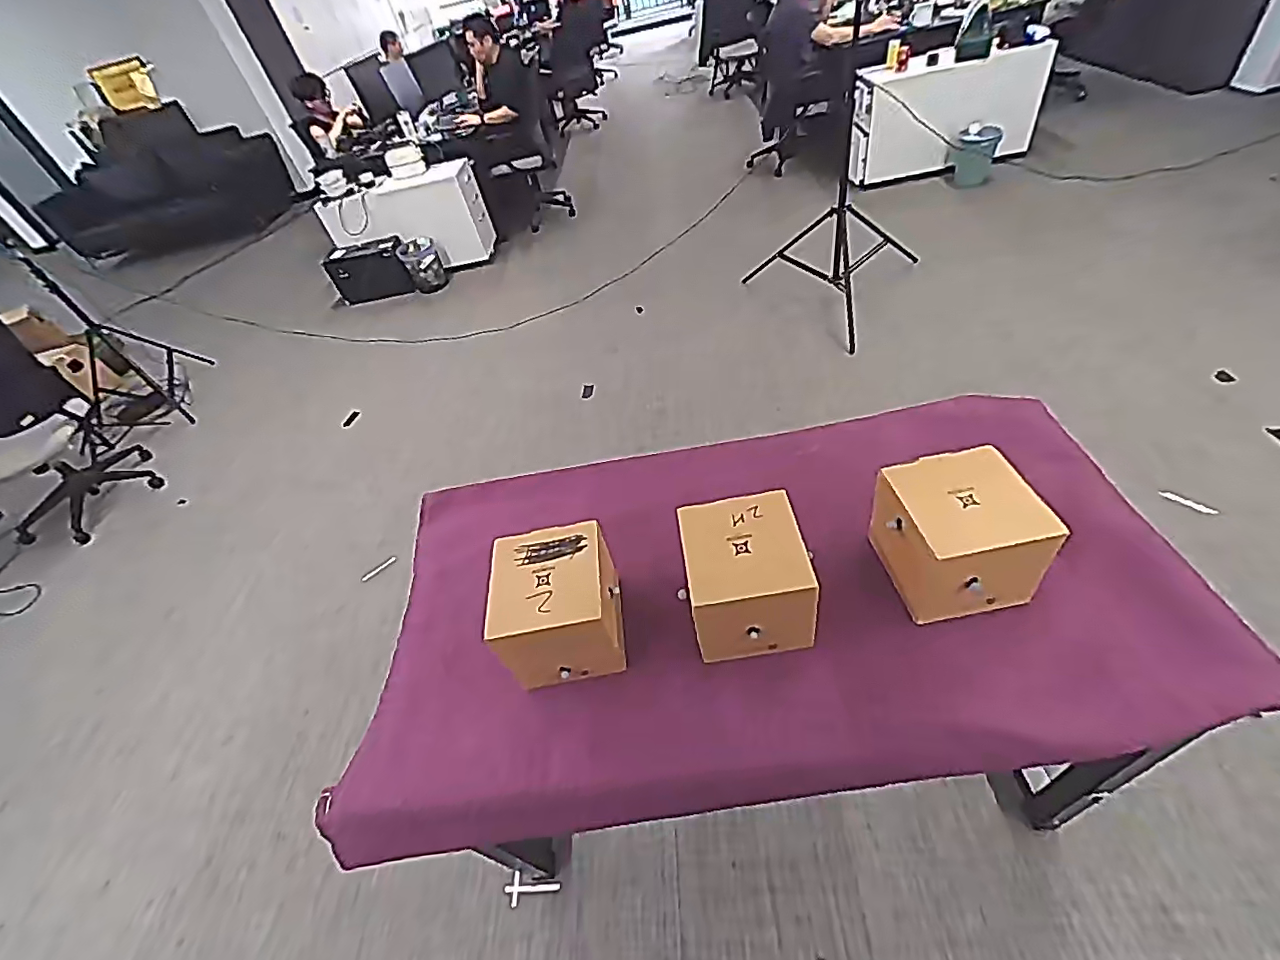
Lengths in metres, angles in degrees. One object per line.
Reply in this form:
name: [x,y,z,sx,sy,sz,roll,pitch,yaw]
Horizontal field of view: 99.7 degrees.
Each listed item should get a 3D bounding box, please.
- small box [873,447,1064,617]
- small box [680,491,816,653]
small box: [0.461,0.084,0.795,0.168,0.176,0.179,-12,43,4]
small box: [0.158,0.145,0.813,0.168,0.176,0.179,-9,45,5]
